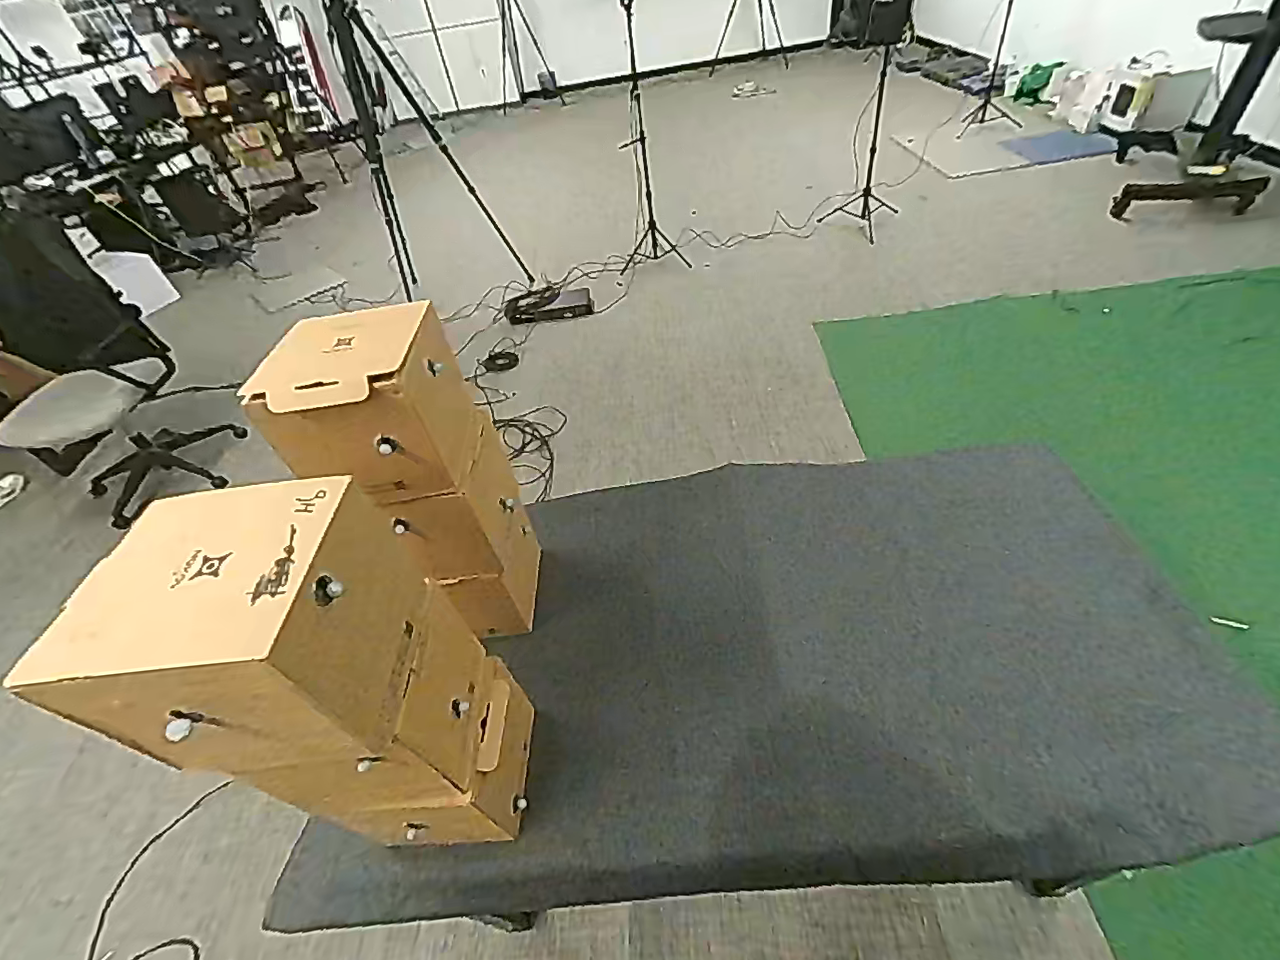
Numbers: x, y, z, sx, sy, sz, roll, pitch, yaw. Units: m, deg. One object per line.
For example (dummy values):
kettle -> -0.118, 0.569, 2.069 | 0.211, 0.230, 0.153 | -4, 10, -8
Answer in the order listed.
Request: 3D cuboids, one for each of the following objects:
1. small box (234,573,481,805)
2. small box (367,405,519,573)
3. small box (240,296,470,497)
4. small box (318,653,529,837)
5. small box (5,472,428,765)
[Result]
small box -> -0.287, 0.223, 0.569 | 0.179, 0.176, 0.168 | -9, 45, 2
small box -> -0.289, 0.018, 0.766 | 0.179, 0.176, 0.168 | -6, 46, 4
small box -> -0.317, -0.093, 0.650 | 0.168, 0.176, 0.179 | -8, 44, 1
small box -> -0.250, 0.336, 0.681 | 0.179, 0.176, 0.168 | -6, 46, 5
small box -> -0.307, 0.118, 0.445 | 0.179, 0.176, 0.168 | -7, 45, 3
